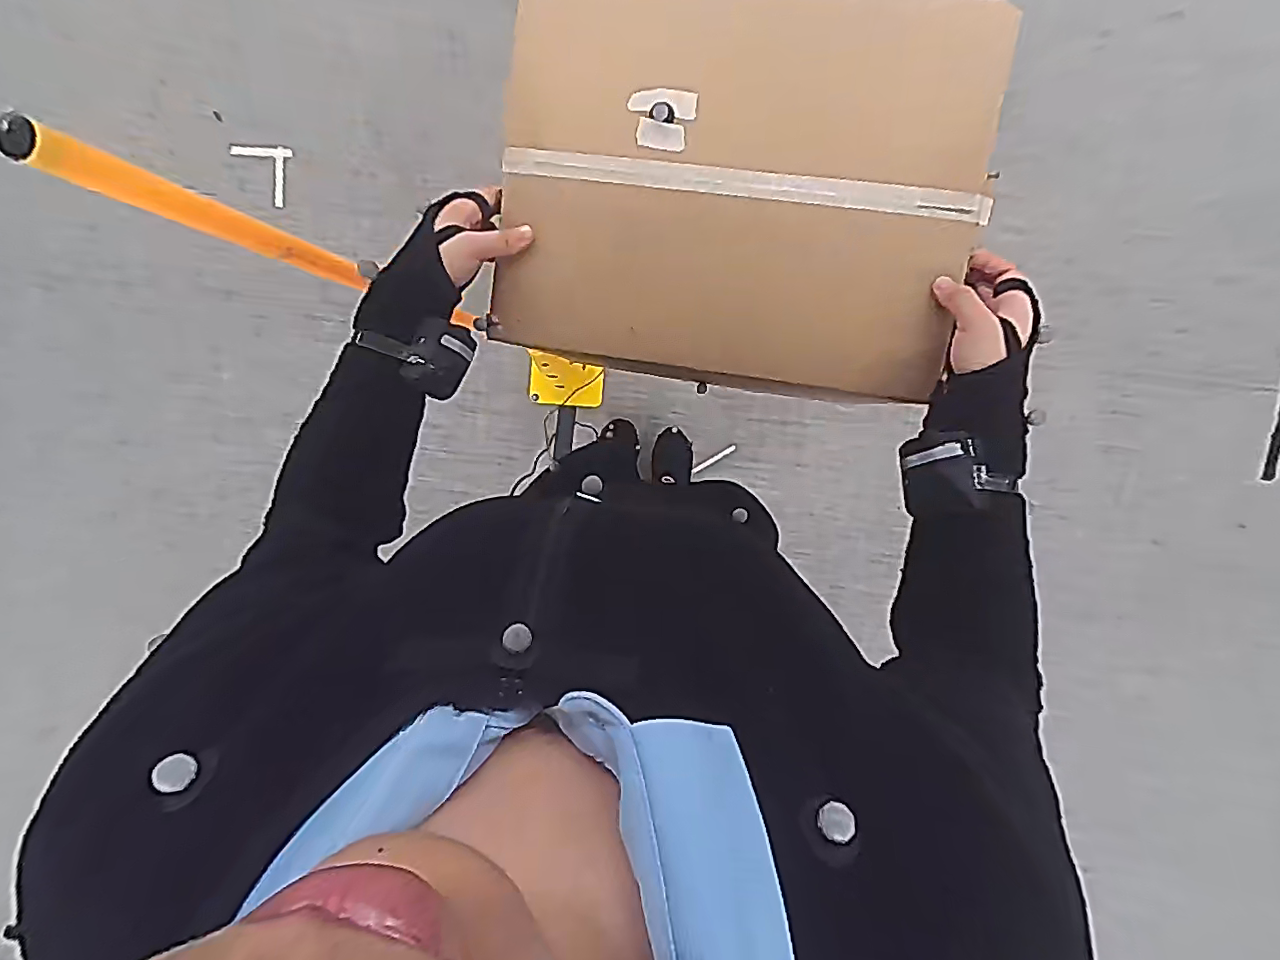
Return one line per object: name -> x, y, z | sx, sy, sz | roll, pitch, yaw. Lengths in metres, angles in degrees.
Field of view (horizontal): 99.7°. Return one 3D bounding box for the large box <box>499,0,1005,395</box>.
large box -> 0.100, -0.275, 0.619 | 0.408, 0.320, 0.320 | 10, 98, 7
